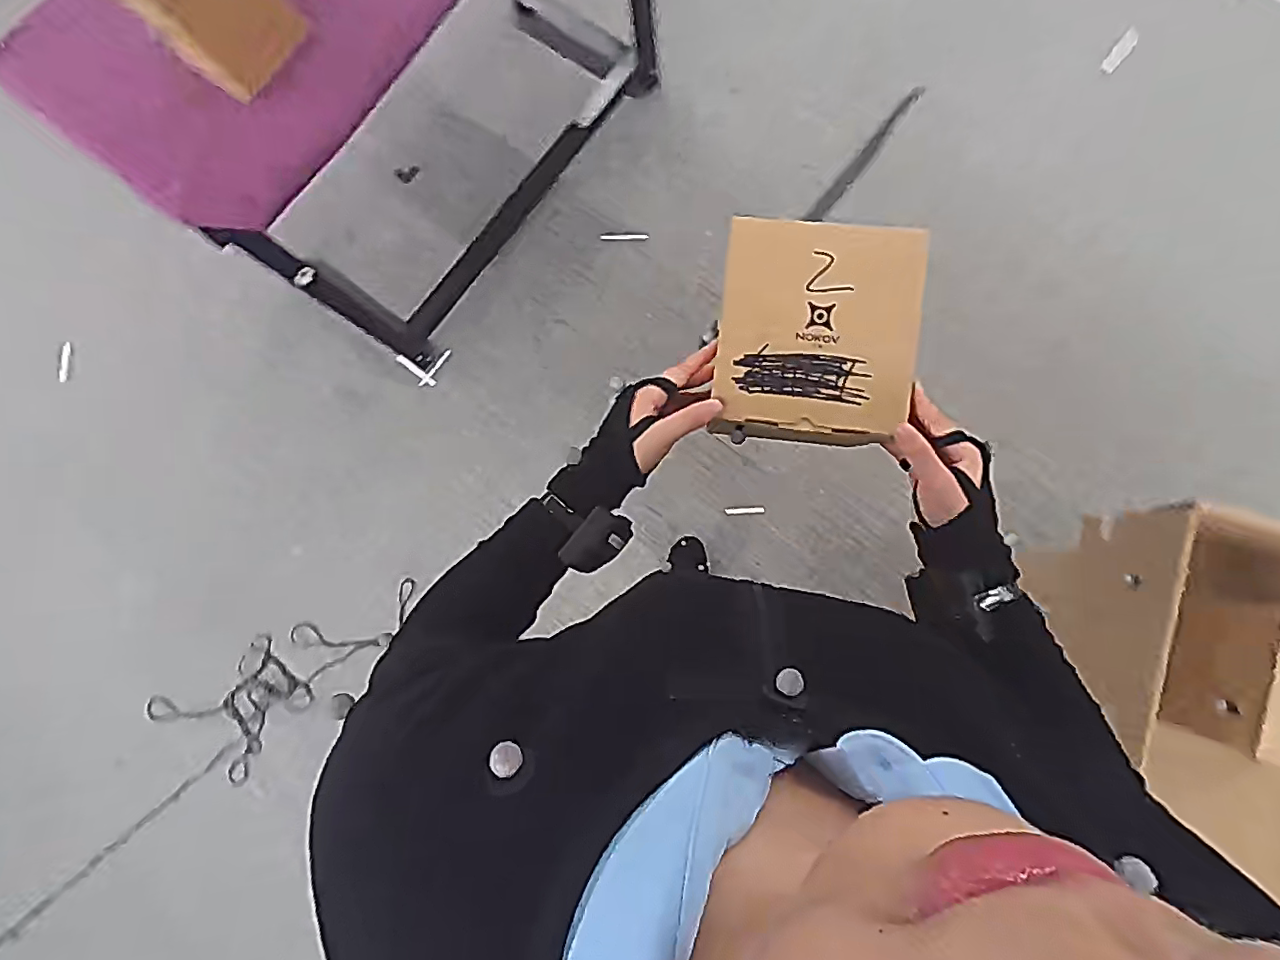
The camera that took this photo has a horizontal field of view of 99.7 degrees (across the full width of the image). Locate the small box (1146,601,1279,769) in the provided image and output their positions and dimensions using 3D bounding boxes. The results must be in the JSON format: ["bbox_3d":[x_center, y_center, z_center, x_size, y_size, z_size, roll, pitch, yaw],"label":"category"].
[{"bbox_3d":[0.805,0.268,0.685,0.168,0.176,0.179,19,85,8],"label":"small box"}]

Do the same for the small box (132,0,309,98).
[{"bbox_3d":[-0.704,-0.793,0.898,0.168,0.176,0.179,35,86,9],"label":"small box"}]
